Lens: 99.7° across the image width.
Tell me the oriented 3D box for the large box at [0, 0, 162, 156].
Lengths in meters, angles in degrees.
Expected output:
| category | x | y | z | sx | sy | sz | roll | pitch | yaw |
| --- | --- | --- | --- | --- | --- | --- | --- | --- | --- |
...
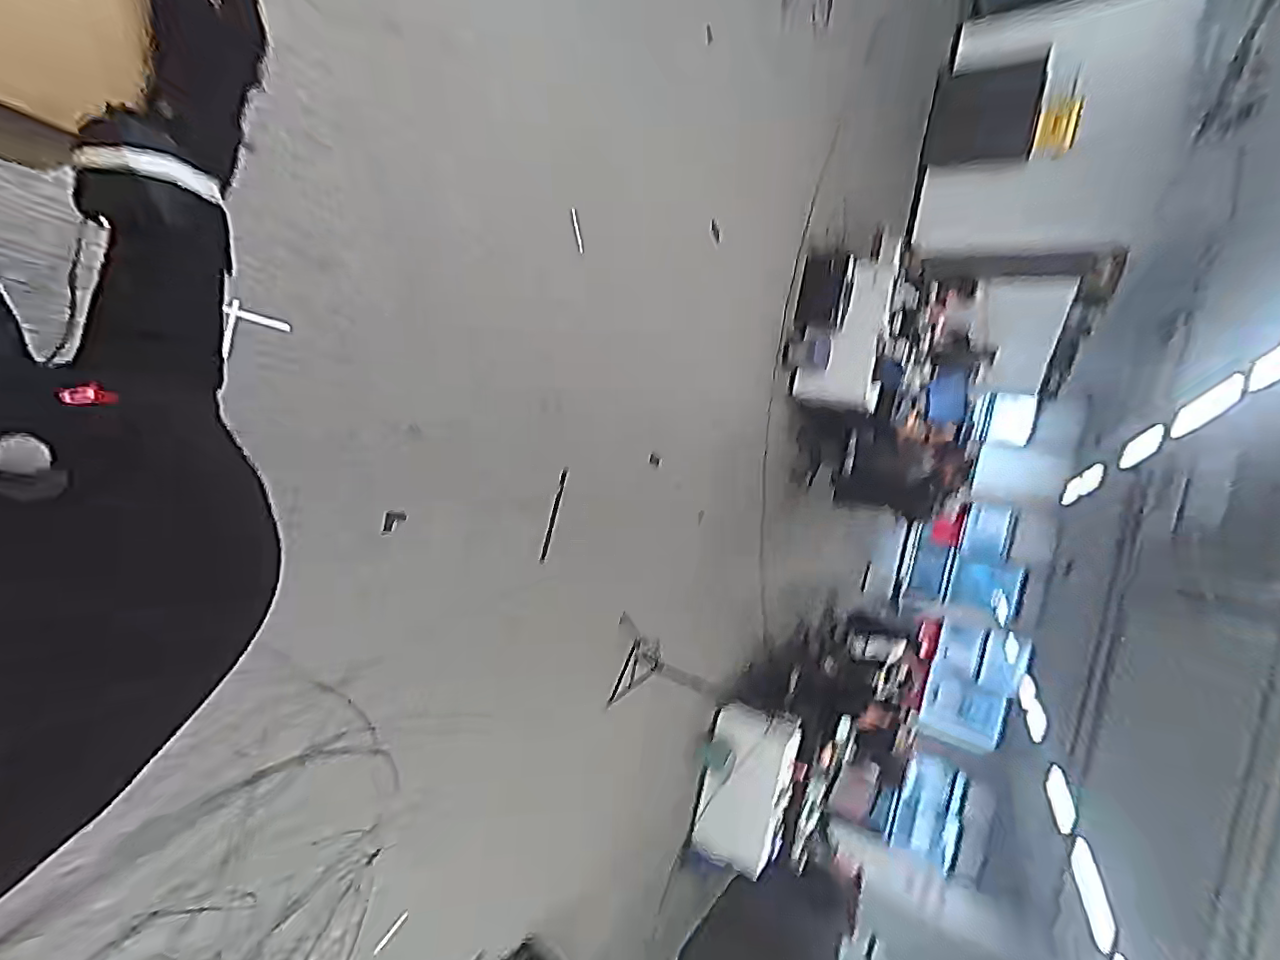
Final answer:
| category | x | y | z | sx | sy | sz | roll | pitch | yaw |
| --- | --- | --- | --- | --- | --- | --- | --- | --- | --- |
| large box | -0.559 | -0.440 | 0.291 | 0.408 | 0.320 | 0.320 | 5 | 102 | -60 |
